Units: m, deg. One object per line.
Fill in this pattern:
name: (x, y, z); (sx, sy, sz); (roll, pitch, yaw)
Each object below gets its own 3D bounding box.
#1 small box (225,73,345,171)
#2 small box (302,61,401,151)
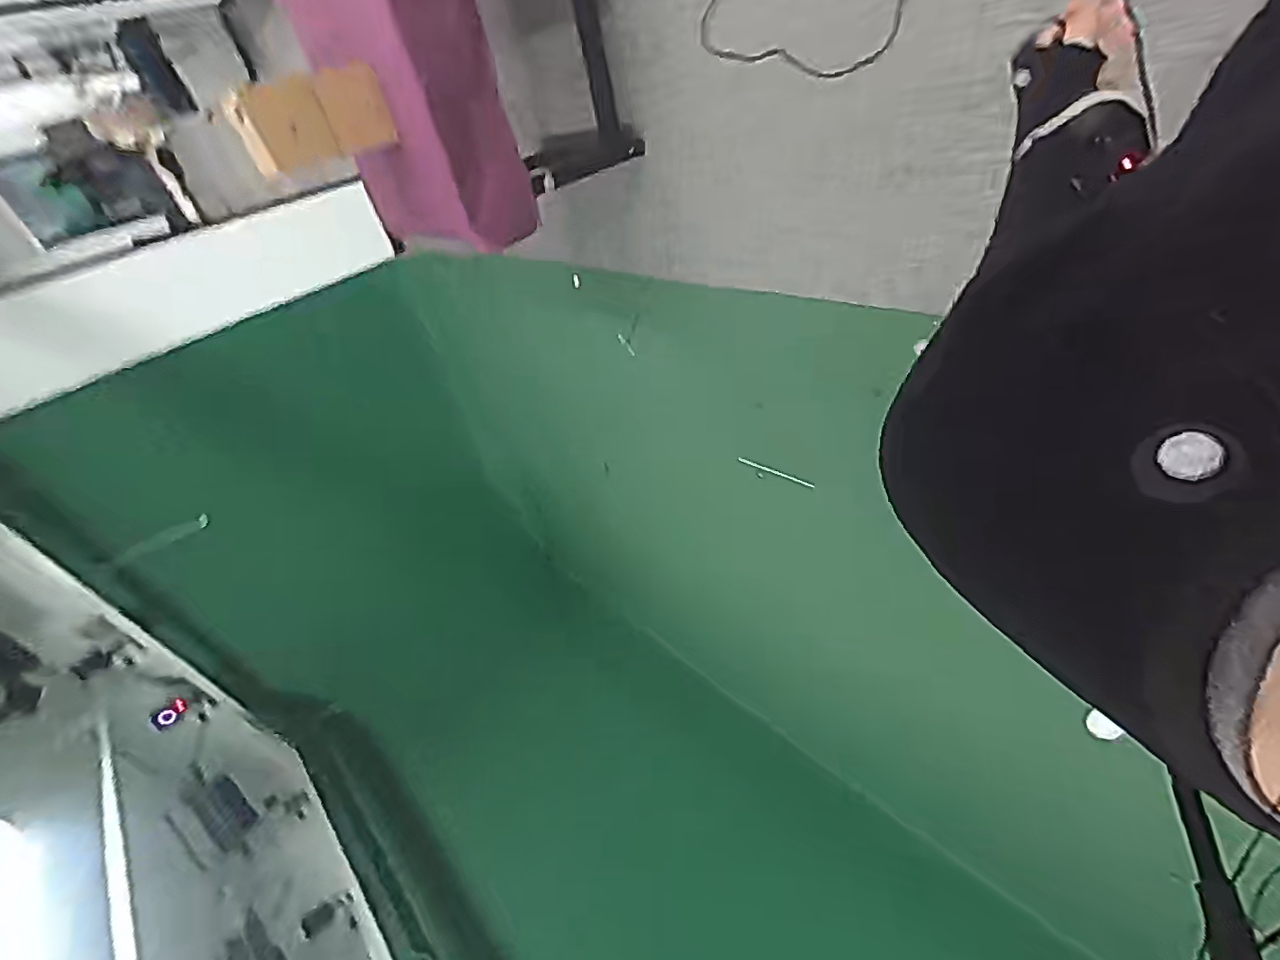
small box: (-0.894, -0.907, 1.370); (0.168, 0.176, 0.179); (23, 142, 41)
small box: (-0.780, -0.997, 1.448); (0.168, 0.176, 0.179); (23, 141, 41)
